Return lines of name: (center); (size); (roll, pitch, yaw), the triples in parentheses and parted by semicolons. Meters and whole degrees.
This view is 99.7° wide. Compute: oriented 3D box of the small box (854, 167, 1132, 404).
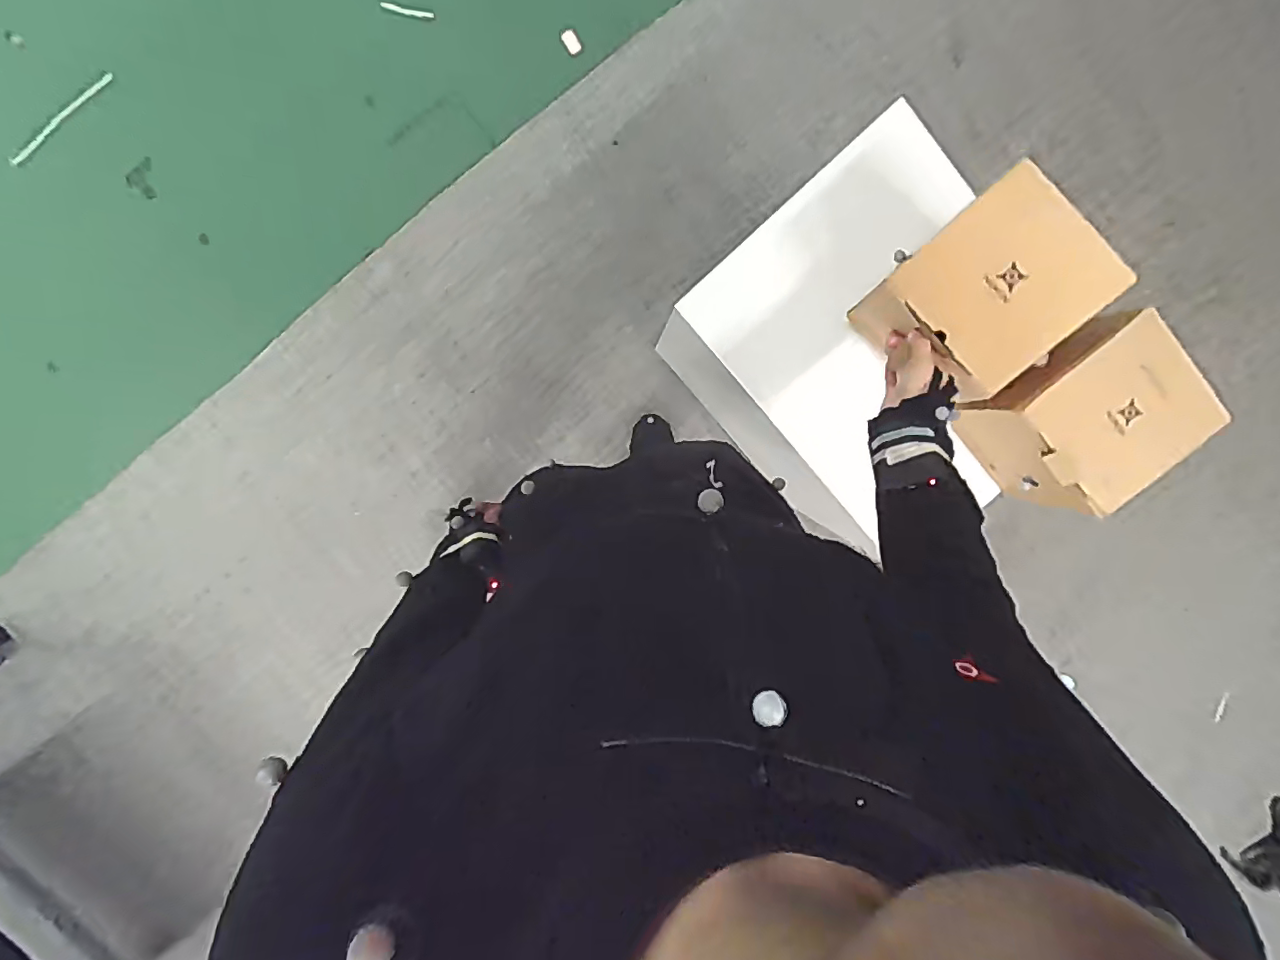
small box: (0.383, -0.205, 0.628); (0.179, 0.176, 0.168); (-41, 89, 9)

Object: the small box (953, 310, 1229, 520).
small box: (0.533, -0.079, 0.674); (0.179, 0.176, 0.168); (-42, 97, 4)
